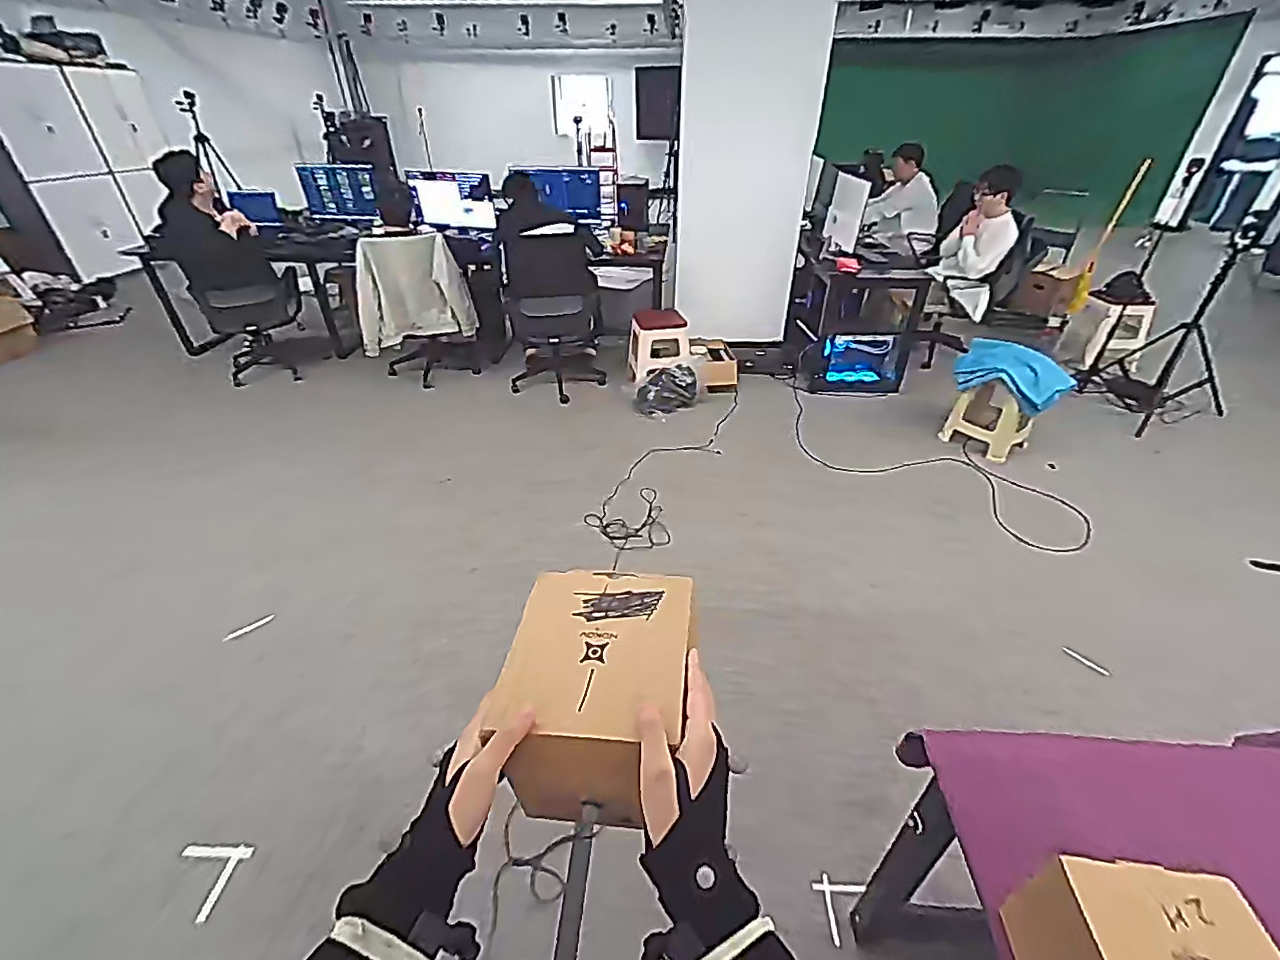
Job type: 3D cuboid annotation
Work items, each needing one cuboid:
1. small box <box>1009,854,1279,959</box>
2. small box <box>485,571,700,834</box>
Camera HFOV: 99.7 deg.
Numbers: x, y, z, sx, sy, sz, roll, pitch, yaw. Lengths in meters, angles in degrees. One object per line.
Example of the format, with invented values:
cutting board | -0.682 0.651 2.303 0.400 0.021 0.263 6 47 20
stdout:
small box | 0.508 0.511 0.531 0.168 0.176 0.179 4 35 7
small box | -0.028 0.213 0.536 0.168 0.176 0.179 0 37 10
